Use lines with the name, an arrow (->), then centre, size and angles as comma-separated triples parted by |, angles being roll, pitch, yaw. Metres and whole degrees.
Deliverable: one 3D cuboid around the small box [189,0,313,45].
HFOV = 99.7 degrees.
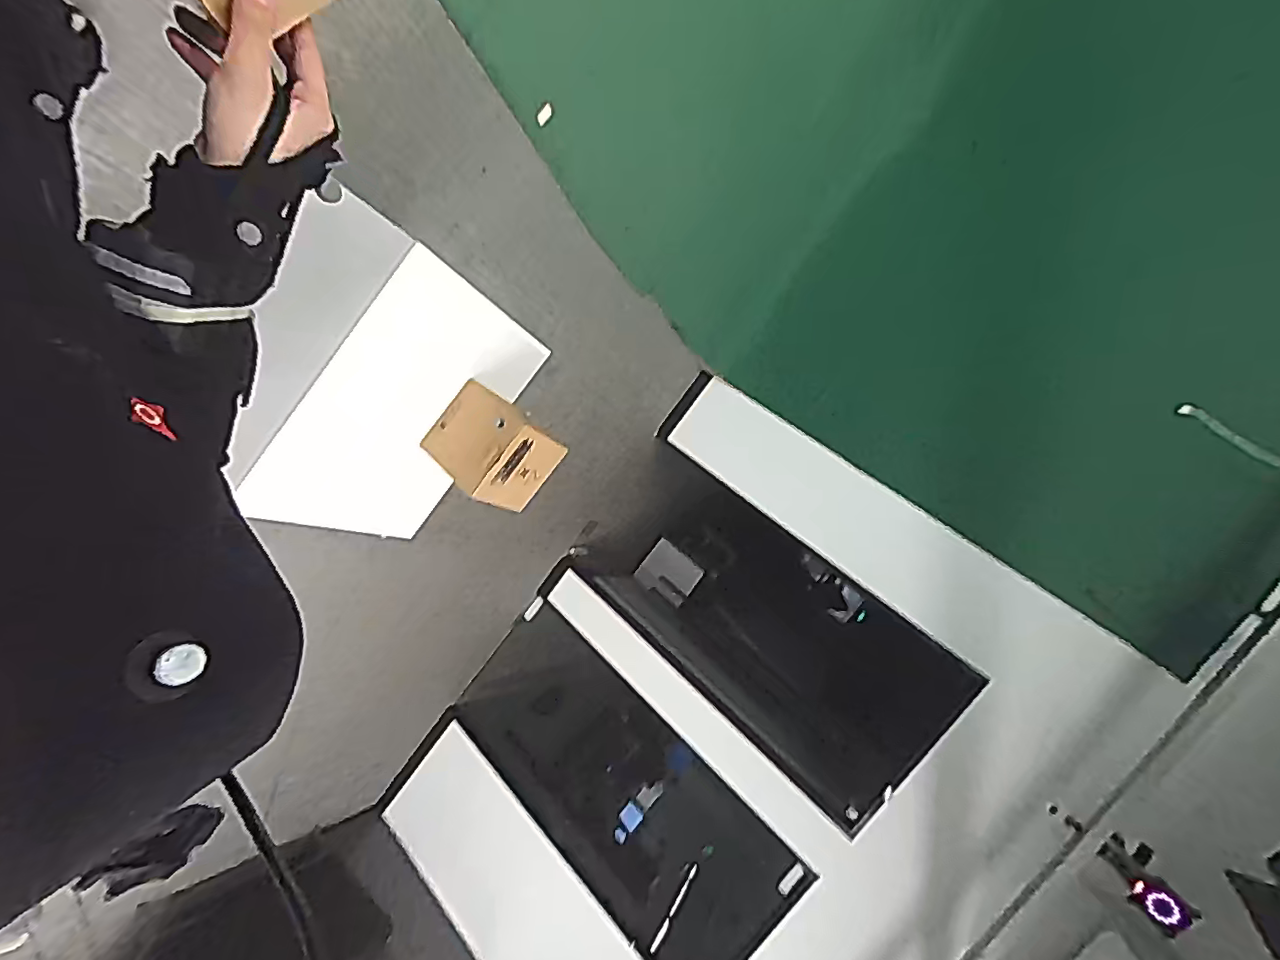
small box -> -0.224, -0.376, 0.256 | 0.179, 0.176, 0.168 | -42, 166, -5
